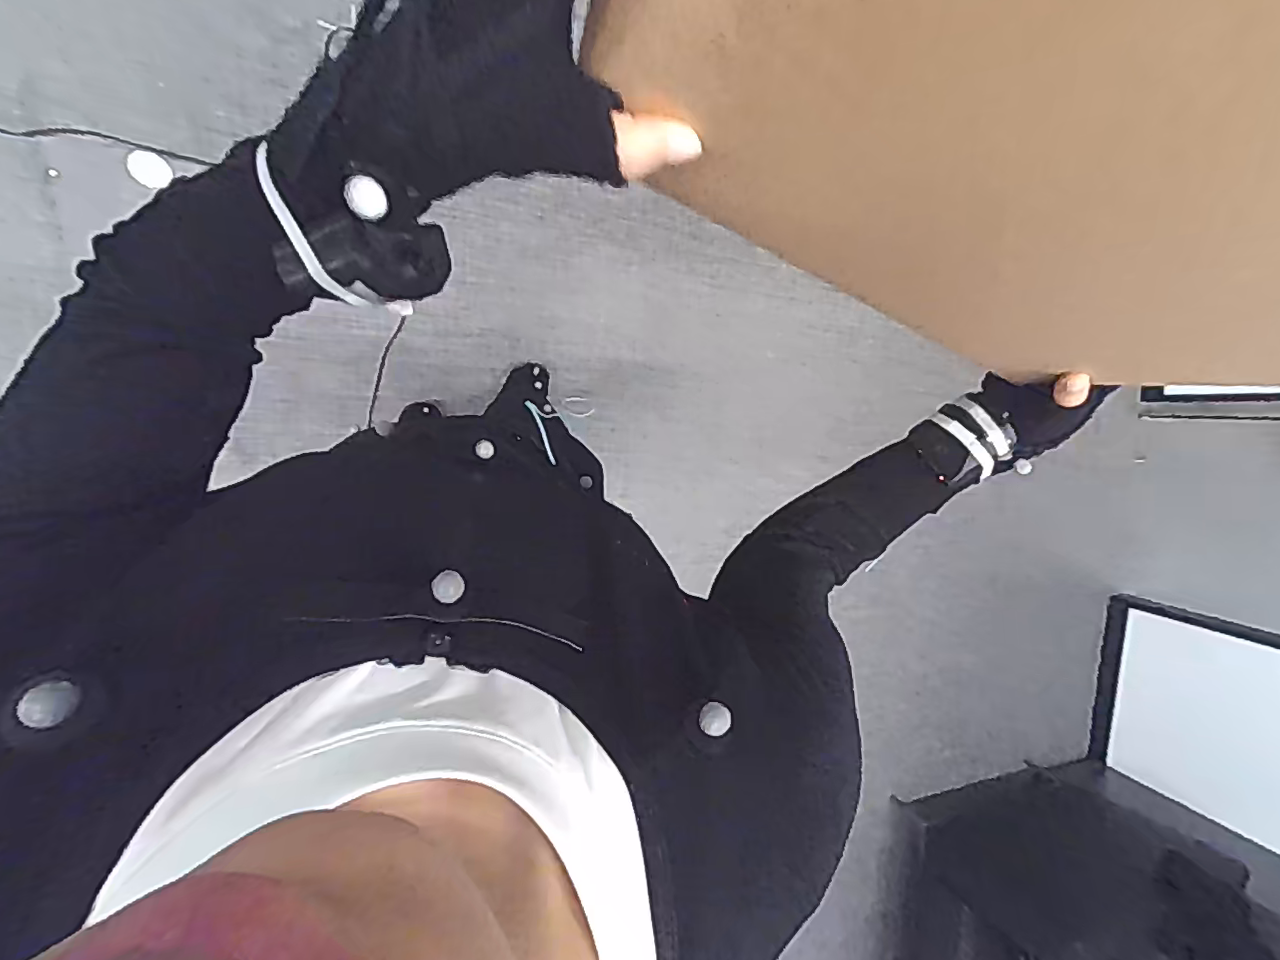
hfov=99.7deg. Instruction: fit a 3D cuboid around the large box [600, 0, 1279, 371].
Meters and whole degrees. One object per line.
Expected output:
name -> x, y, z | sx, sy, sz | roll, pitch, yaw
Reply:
large box -> 0.247, -0.240, 0.196 | 0.408, 0.320, 0.320 | 11, 94, -33
